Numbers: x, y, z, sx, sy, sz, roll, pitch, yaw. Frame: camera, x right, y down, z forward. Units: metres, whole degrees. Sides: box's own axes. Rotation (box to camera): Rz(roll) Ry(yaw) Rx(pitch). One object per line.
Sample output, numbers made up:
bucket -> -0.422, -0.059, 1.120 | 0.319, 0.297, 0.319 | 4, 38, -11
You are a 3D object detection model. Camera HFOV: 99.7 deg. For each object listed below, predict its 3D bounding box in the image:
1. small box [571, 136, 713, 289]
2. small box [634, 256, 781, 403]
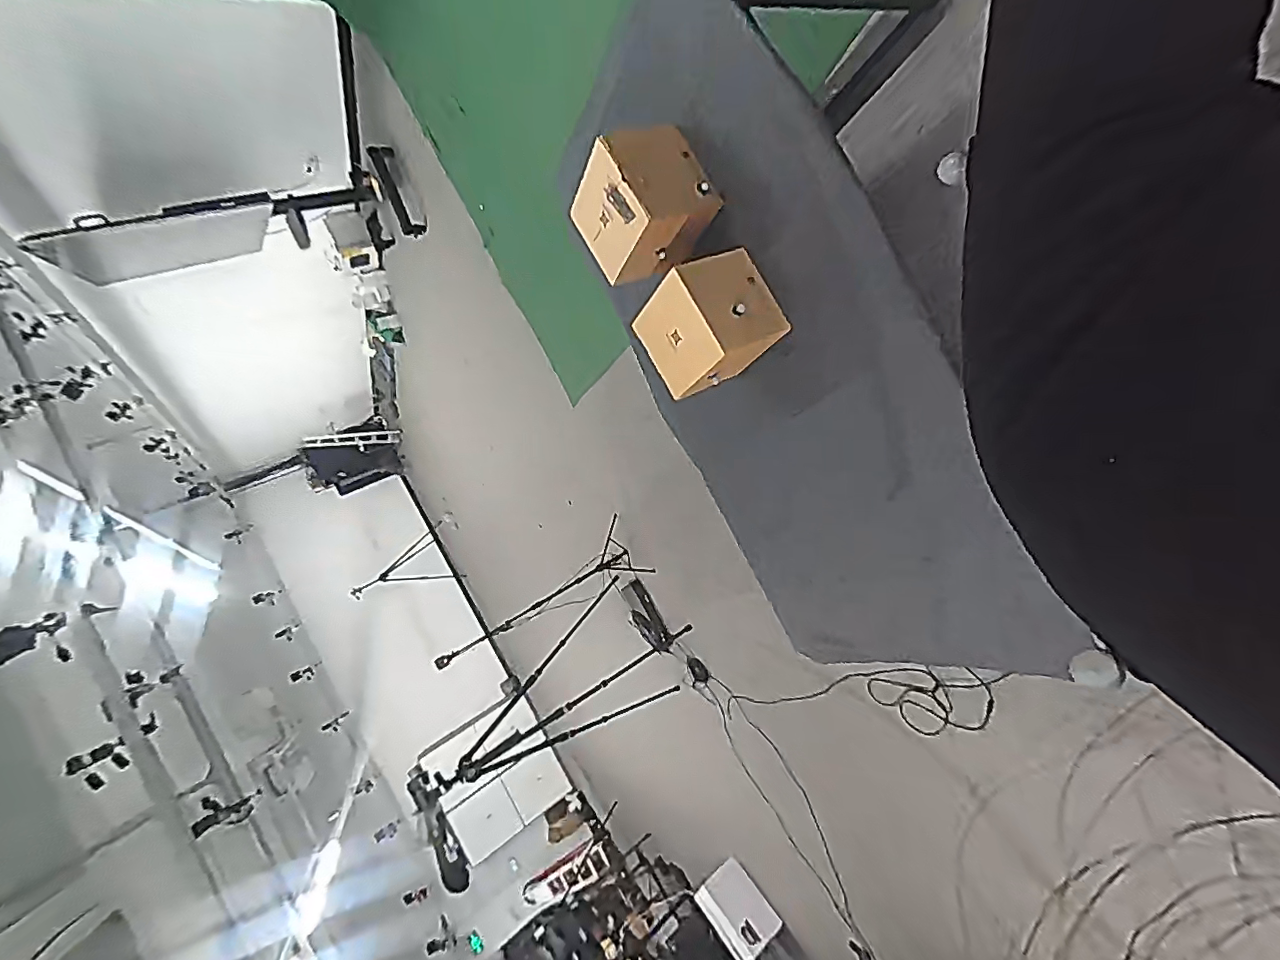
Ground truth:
small box -> 0.007, -0.478, 0.965 | 0.168, 0.176, 0.179 | 60, 152, 4
small box -> 0.124, -0.267, 0.958 | 0.168, 0.176, 0.179 | 60, 152, 4
